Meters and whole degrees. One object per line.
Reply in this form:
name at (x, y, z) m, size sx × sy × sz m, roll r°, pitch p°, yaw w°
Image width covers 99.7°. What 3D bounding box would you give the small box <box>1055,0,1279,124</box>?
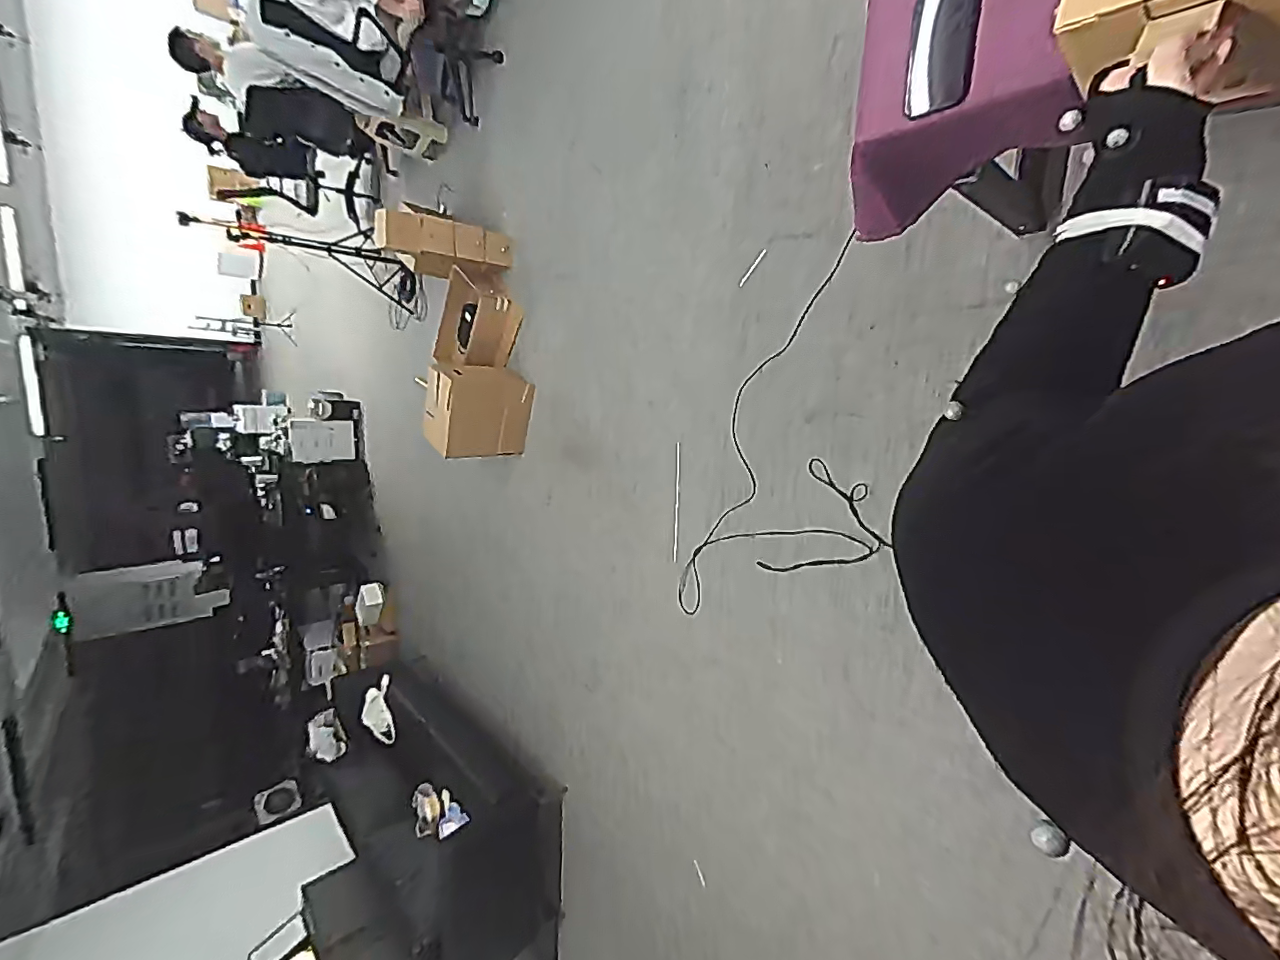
small box at (0.491, -0.448, 0.456) m, size 0.168 × 0.176 × 0.179 m, roll 21°, pitch 101°, yaw 48°
